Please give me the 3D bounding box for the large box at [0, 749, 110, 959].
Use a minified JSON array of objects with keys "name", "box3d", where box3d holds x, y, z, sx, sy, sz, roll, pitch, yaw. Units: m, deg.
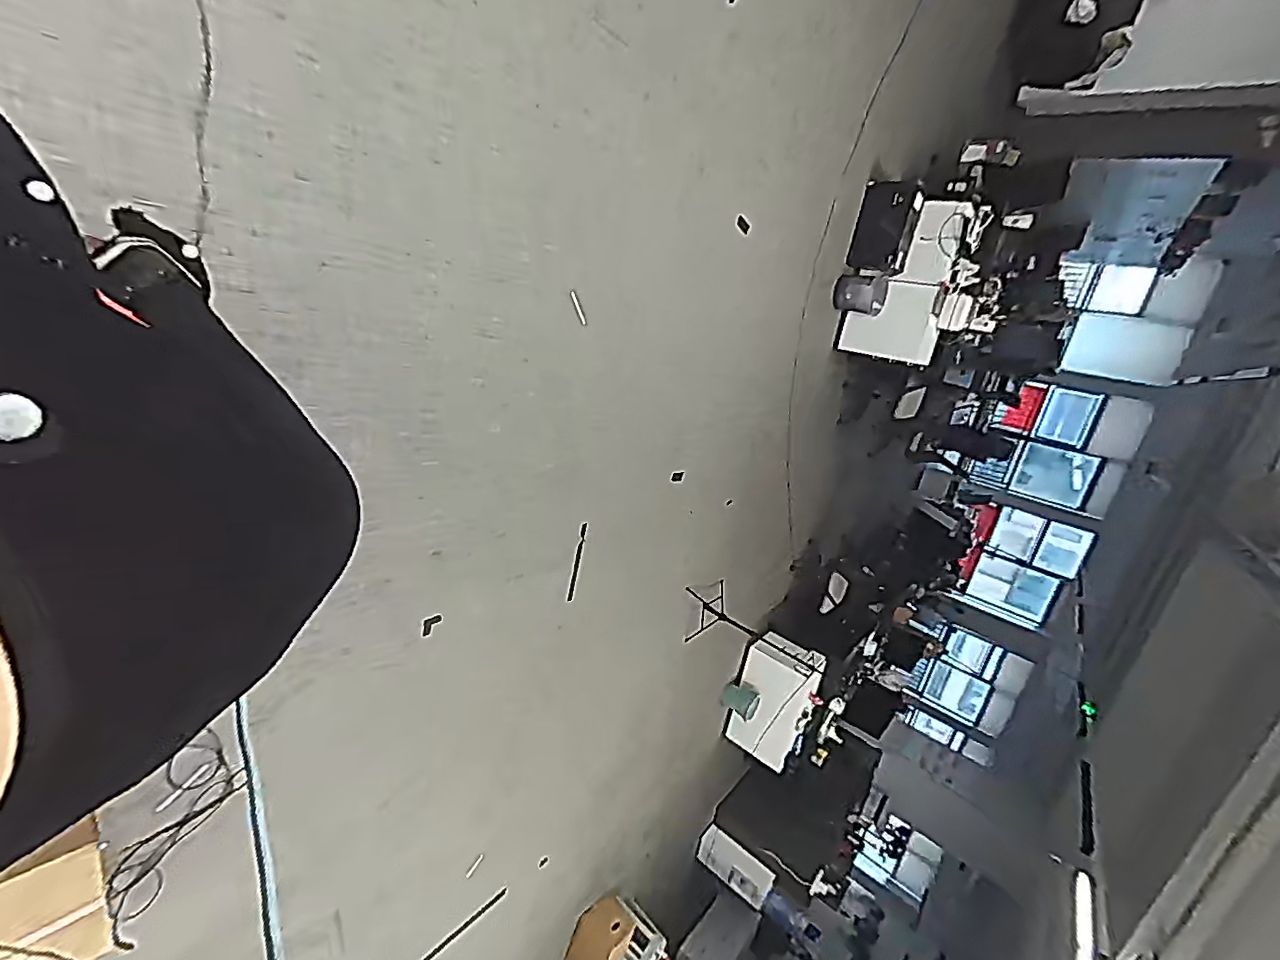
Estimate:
[{"name":"large box","box3d":[-1.355,0.824,1.050,0.408,0.320,0.320,-11,117,-52]}]
